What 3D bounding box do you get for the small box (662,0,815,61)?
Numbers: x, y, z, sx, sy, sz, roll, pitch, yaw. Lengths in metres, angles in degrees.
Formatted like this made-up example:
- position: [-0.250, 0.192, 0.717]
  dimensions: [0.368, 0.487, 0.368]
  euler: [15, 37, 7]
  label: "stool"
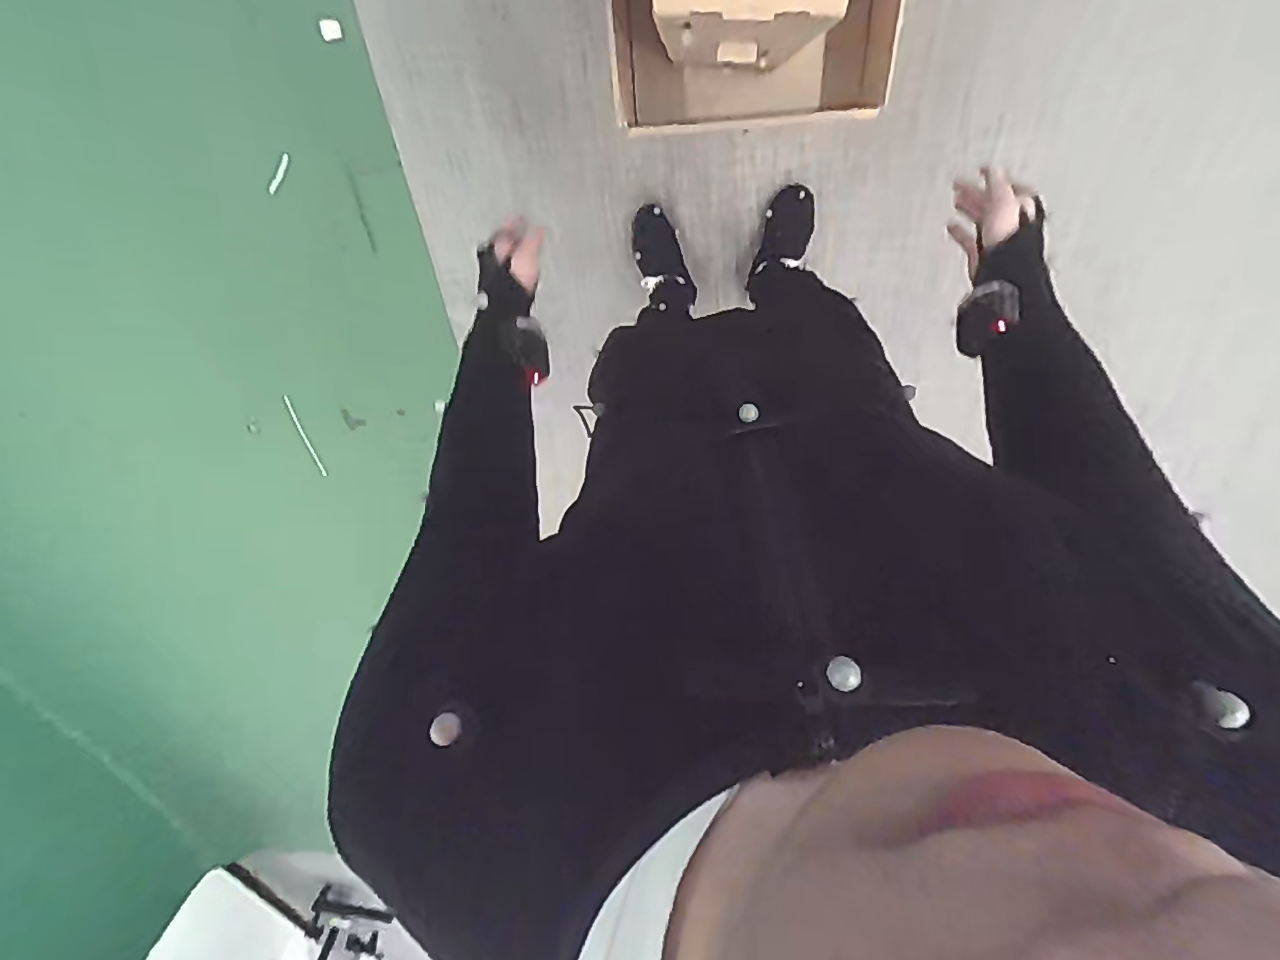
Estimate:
- position: [0.116, -0.601, 0.622]
  dimensions: [0.168, 0.176, 0.179]
  euler: [4, 122, 3]
  label: "small box"
